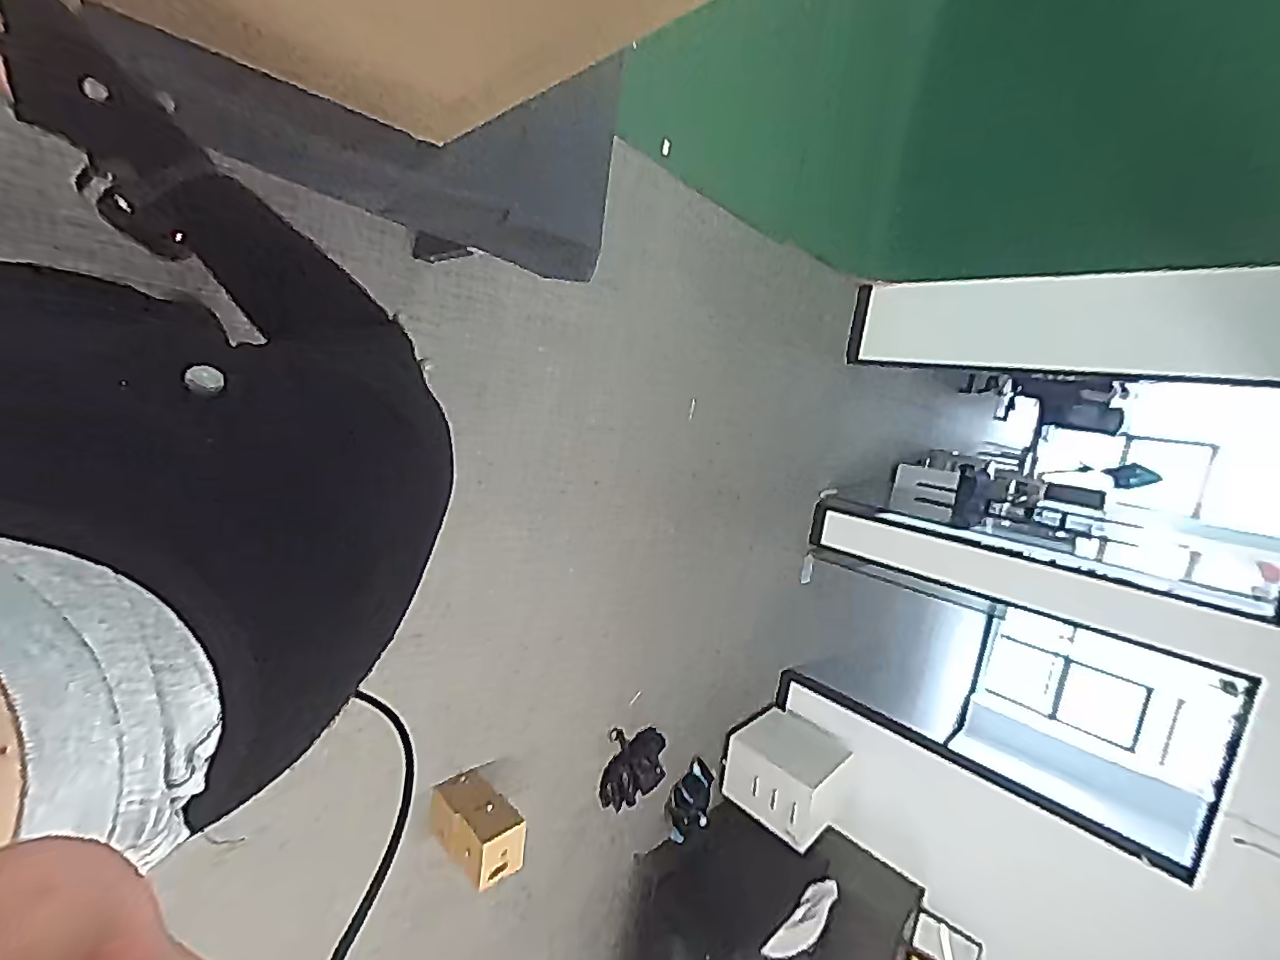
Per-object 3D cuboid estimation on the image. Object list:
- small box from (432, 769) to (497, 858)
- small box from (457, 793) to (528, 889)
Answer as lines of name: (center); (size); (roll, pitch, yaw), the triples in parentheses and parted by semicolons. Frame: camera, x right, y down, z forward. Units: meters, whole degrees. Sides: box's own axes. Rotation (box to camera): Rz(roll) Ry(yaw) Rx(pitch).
small box: (-0.626, 1.180, 1.928); (0.168, 0.176, 0.179); (-4, 103, -47)
small box: (-0.502, 1.208, 1.823); (0.168, 0.176, 0.179); (-1, 102, -47)
